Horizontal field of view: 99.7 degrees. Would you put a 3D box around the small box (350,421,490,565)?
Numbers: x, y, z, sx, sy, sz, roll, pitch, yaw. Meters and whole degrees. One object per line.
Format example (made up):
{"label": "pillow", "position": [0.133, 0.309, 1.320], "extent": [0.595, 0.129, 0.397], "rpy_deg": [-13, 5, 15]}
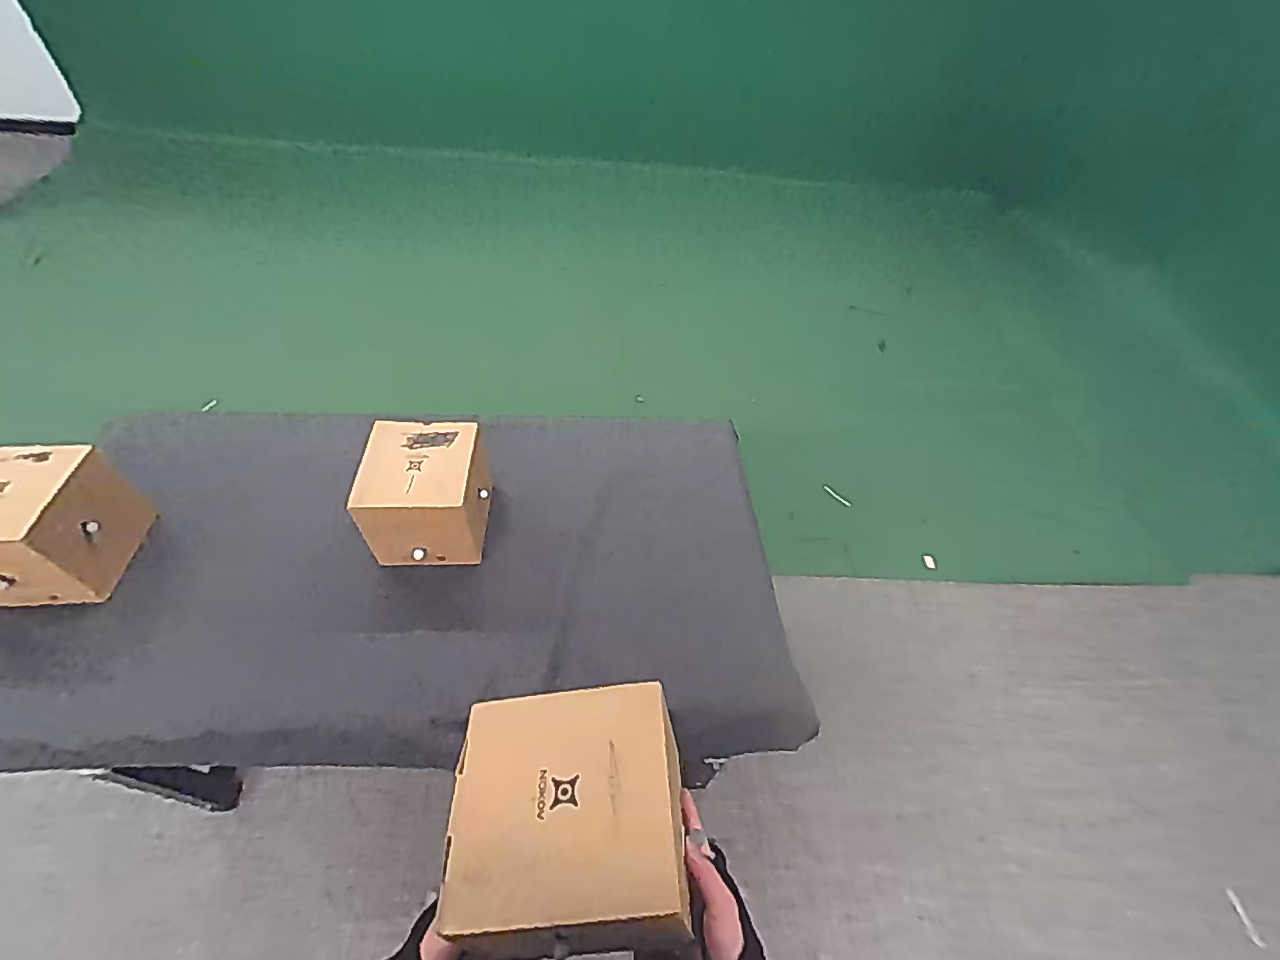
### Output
{"label": "small box", "position": [-0.349, 0.024, 0.899], "extent": [0.168, 0.176, 0.179], "rpy_deg": [1, 52, -6]}

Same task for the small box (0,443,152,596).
{"label": "small box", "position": [-0.892, 0.064, 0.804], "extent": [0.168, 0.176, 0.179], "rpy_deg": [-1, 52, -8]}

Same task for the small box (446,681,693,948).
{"label": "small box", "position": [-0.050, 0.308, 0.496], "extent": [0.179, 0.176, 0.168], "rpy_deg": [-7, 45, 1]}
